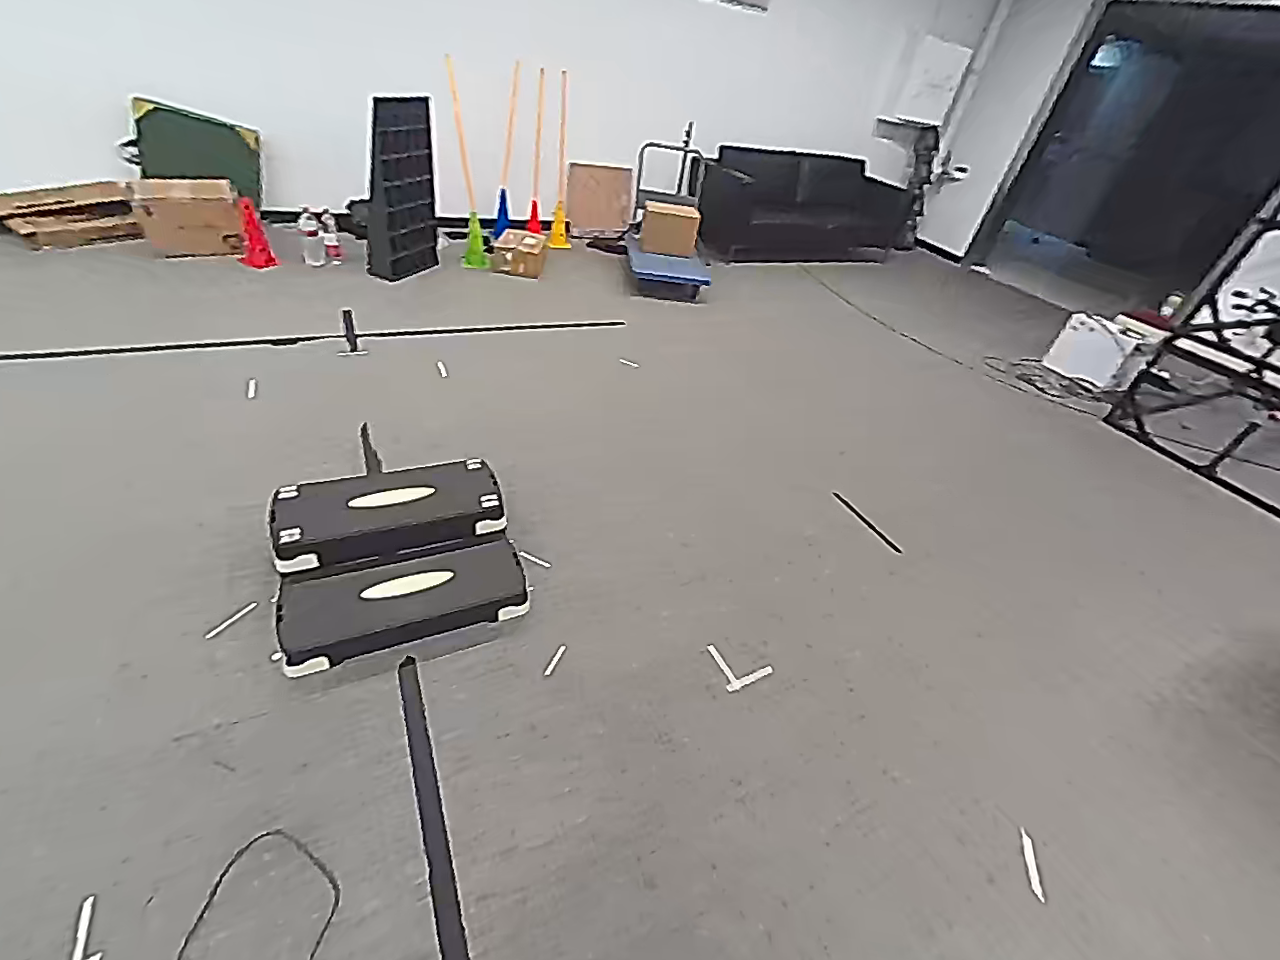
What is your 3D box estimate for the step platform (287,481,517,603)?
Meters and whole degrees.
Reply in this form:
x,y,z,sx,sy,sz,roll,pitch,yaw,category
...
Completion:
x,y,z,sx,sy,sz,roll,pitch,yaw,category
-0.759,0.184,1.782,0.684,0.204,0.286,-6,40,-23,step platform
